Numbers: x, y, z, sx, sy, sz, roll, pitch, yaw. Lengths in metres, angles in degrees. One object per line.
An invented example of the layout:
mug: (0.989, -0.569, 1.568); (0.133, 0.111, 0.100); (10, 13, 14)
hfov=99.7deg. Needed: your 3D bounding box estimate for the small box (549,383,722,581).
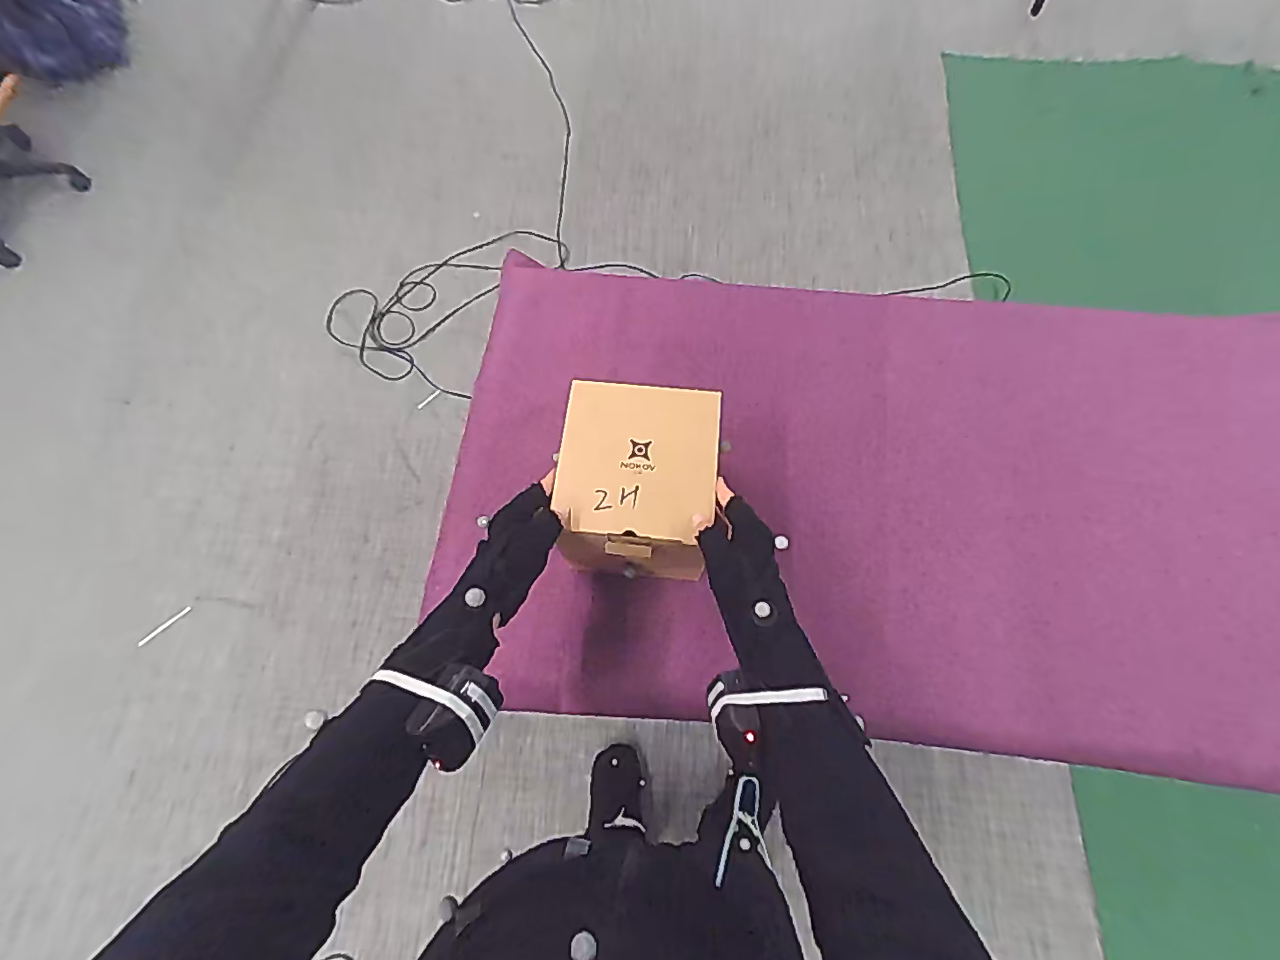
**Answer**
small box: (0.000, 0.009, 0.638); (0.168, 0.176, 0.179); (5, 68, 3)
